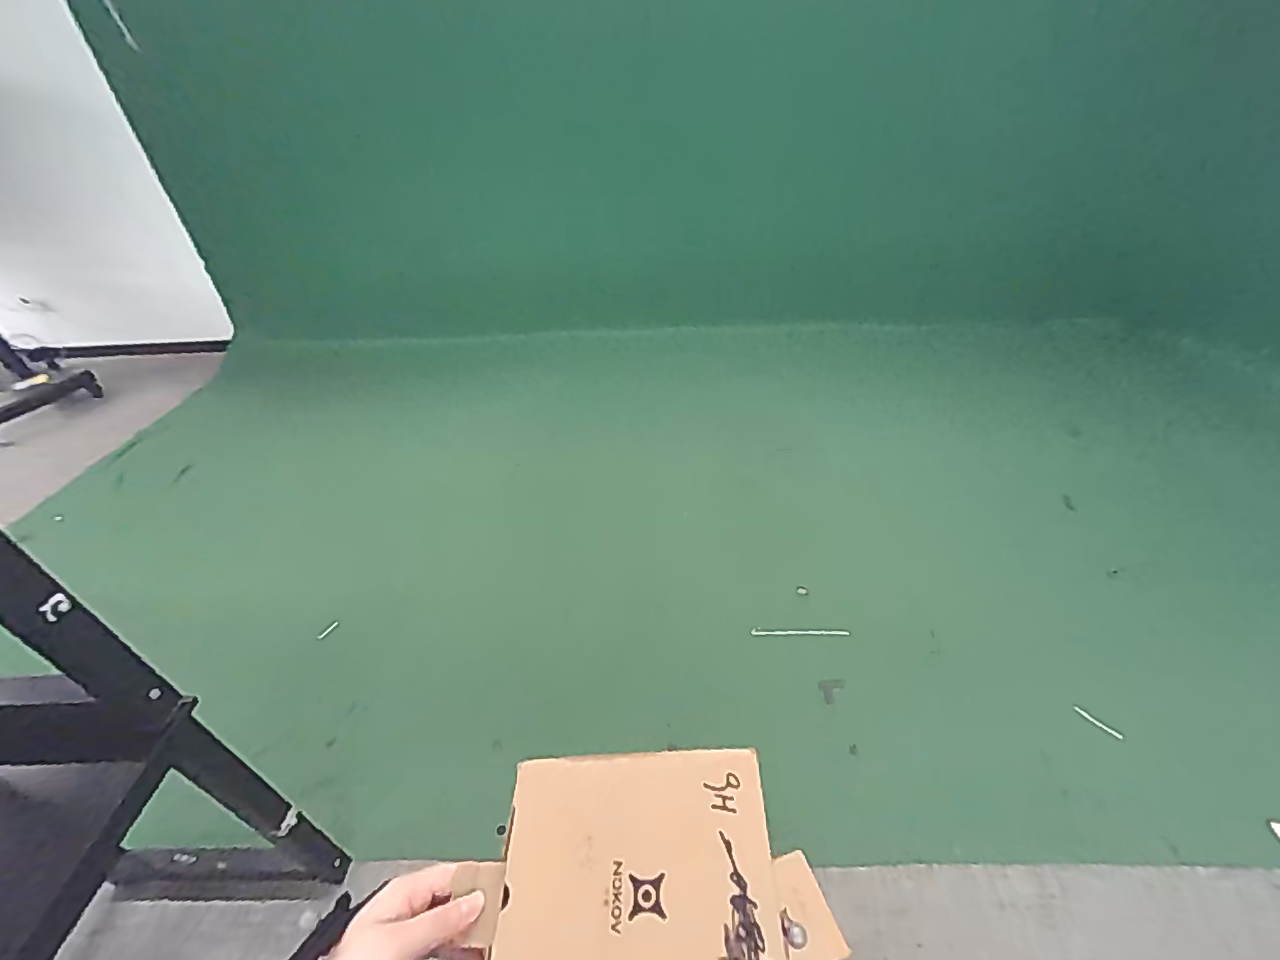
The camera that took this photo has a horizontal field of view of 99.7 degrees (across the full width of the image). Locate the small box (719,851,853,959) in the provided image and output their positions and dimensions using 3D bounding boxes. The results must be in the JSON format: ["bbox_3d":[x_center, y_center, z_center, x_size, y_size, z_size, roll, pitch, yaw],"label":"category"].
[{"bbox_3d":[0.254,0.826,0.988,0.179,0.176,0.168,-14,42,-13],"label":"small box"}]
